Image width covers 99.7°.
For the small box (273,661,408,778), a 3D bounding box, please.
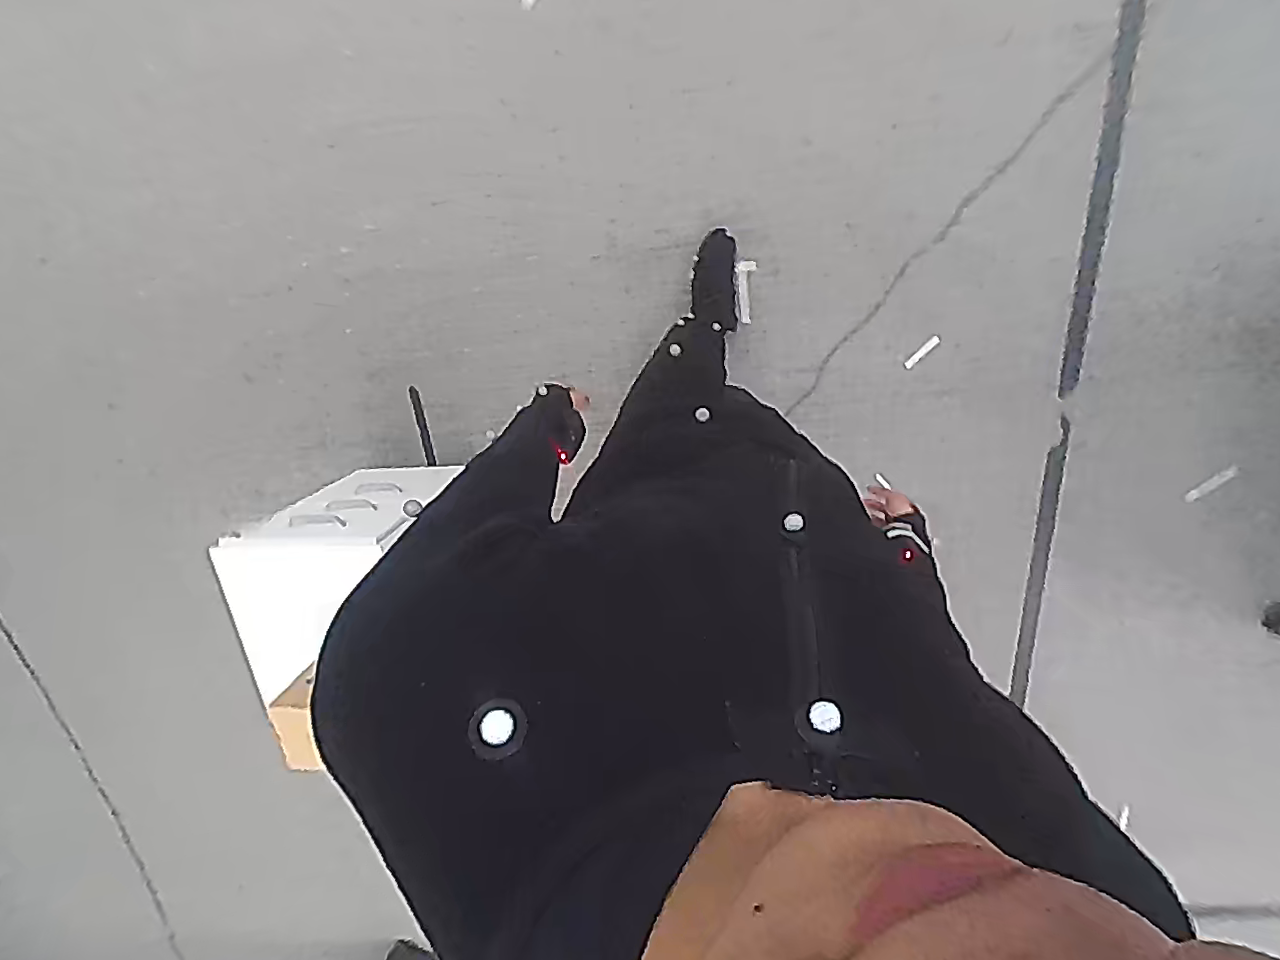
[{"bbox_3d":[-0.638,0.509,1.170,0.179,0.176,0.168,-2,109,6],"label":"small box"}]
